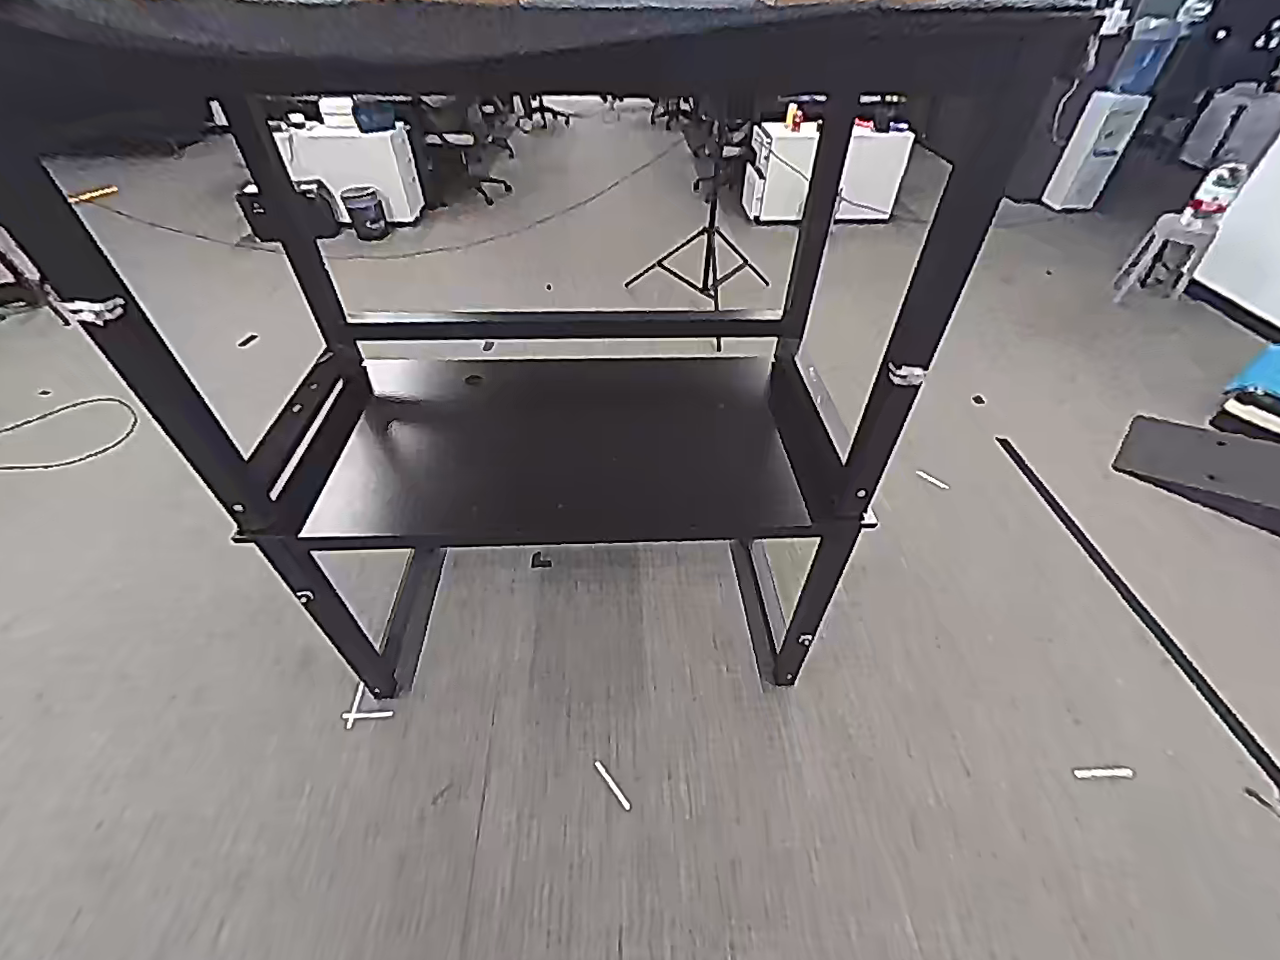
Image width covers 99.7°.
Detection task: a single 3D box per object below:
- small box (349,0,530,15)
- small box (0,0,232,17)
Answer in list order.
[{"bbox_3d":[-0.214,-0.585,0.547,0.179,0.176,0.168,-3,43,-5],"label":"small box"},{"bbox_3d":[-0.569,-0.573,0.534,0.179,0.176,0.168,5,42,4],"label":"small box"}]
